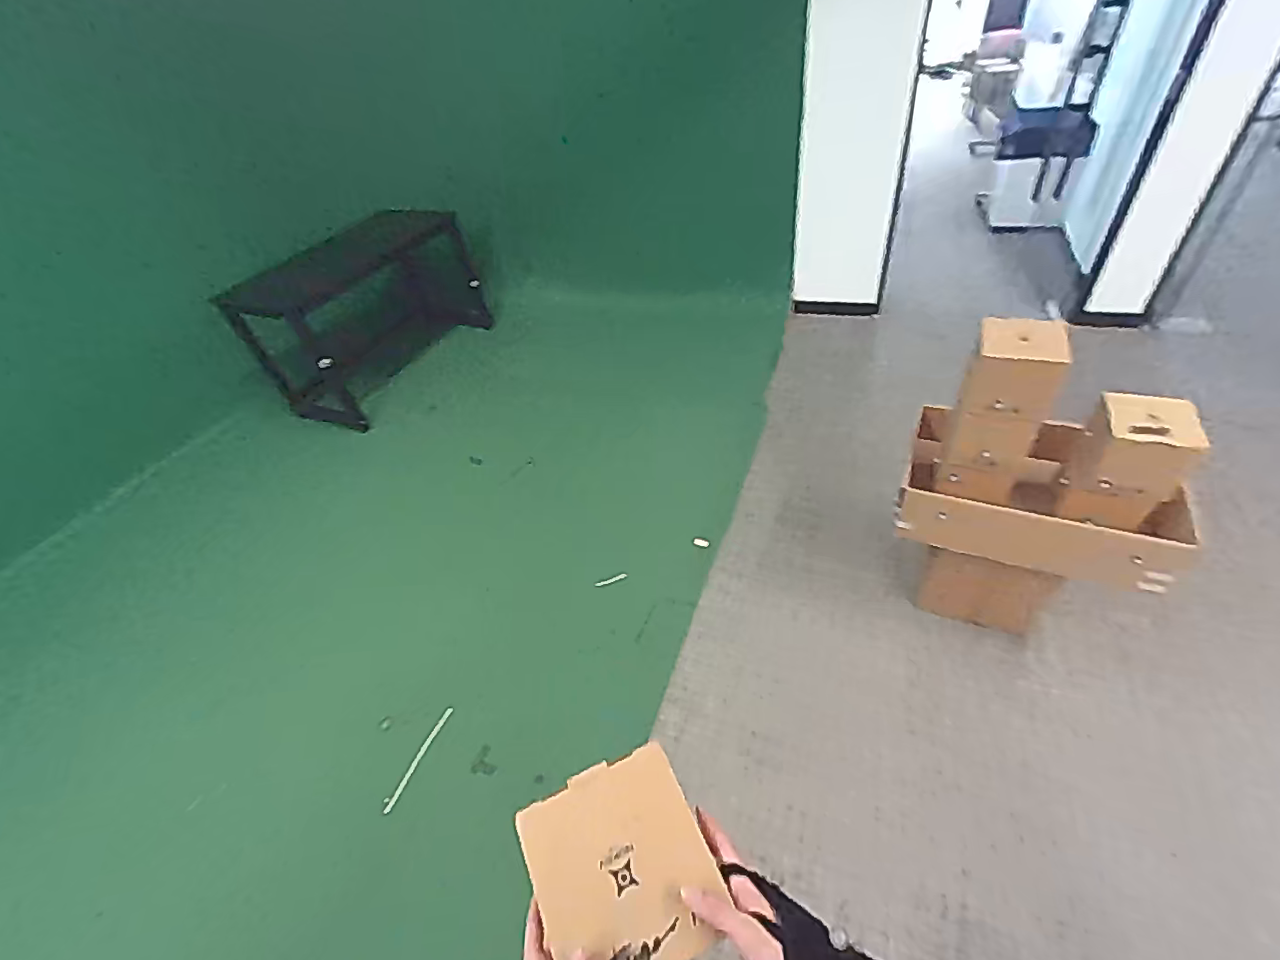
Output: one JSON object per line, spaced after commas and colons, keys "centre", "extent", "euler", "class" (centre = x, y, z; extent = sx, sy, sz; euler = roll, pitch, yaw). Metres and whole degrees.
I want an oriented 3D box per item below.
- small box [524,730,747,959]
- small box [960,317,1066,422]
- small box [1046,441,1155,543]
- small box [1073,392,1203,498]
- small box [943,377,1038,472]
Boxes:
{"centre": [-0.007, 0.404, 0.575], "extent": [0.168, 0.176, 0.179], "euler": [-21, 53, -11], "class": "small box"}
{"centre": [0.872, -0.263, 1.278], "extent": [0.168, 0.176, 0.179], "euler": [12, 48, 23], "class": "small box"}
{"centre": [1.175, 0.030, 1.394], "extent": [0.168, 0.176, 0.179], "euler": [15, 50, 24], "class": "small box"}
{"centre": [1.157, -0.081, 1.273], "extent": [0.168, 0.176, 0.179], "euler": [12, 48, 21], "class": "small box"}
{"centre": [0.894, -0.148, 1.392], "extent": [0.168, 0.176, 0.179], "euler": [11, 48, 22], "class": "small box"}
